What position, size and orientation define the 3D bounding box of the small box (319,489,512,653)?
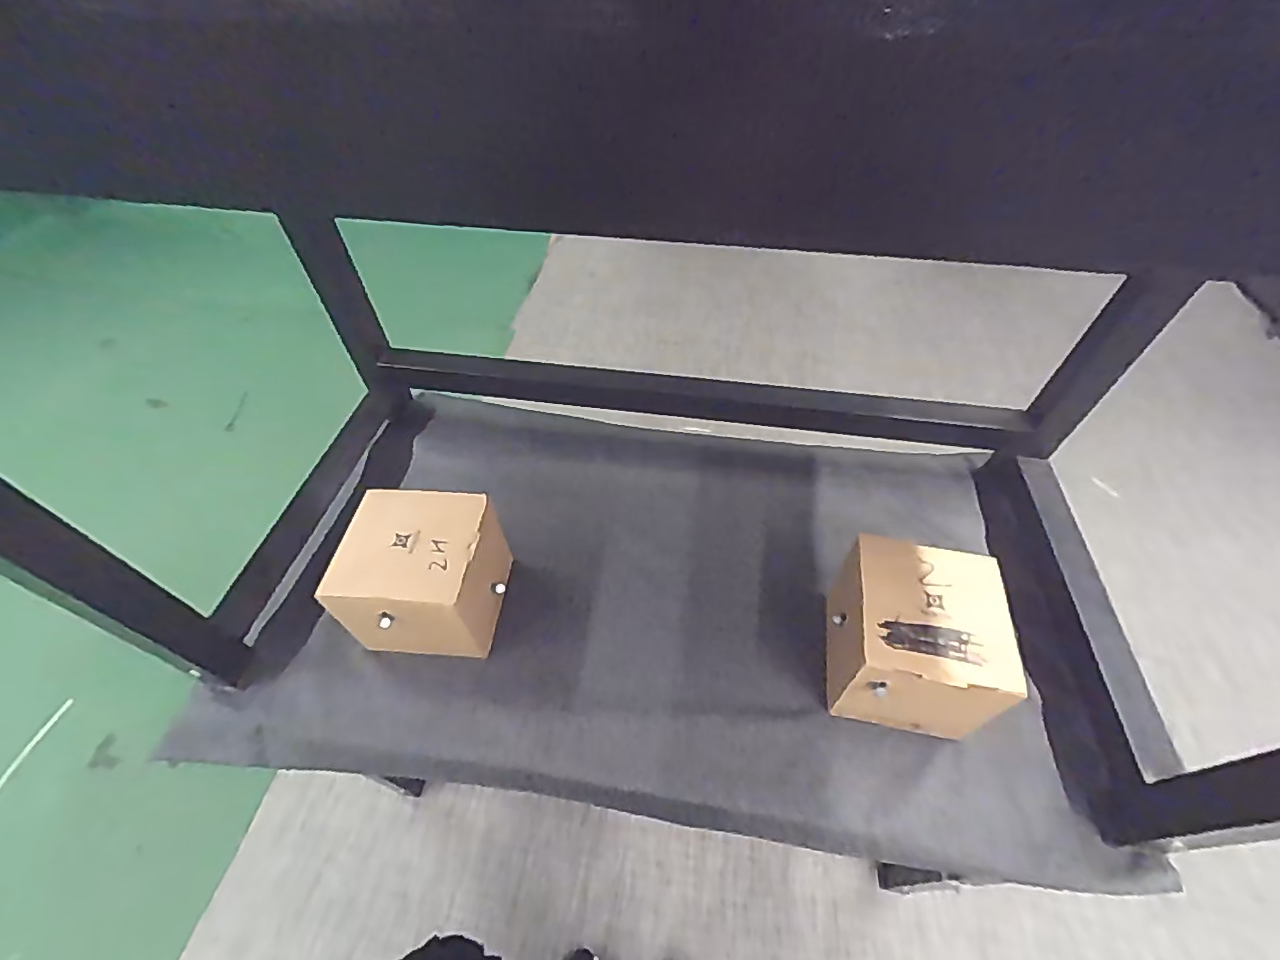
[{"bbox_3d":[-0.296,0.131,0.758,0.179,0.176,0.168,4,51,3],"label":"small box"}]
